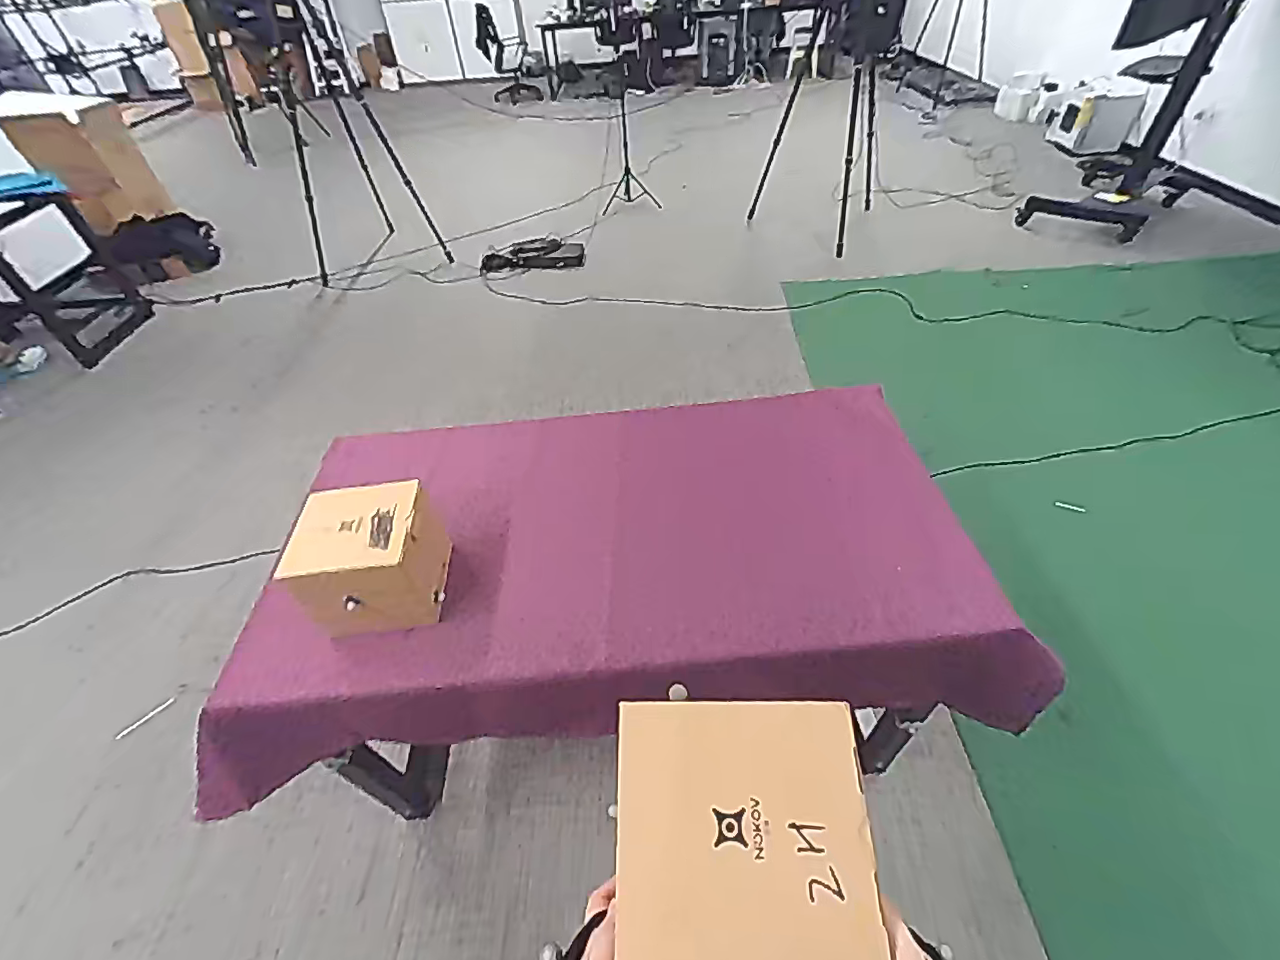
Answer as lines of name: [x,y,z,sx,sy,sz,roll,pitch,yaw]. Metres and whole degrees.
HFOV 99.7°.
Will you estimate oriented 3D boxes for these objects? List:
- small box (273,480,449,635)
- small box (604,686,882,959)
small box: [-0.419,0.124,0.852,0.179,0.176,0.168,-8,45,-1]
small box: [0.072,0.270,0.445,0.179,0.176,0.168,-1,62,4]
